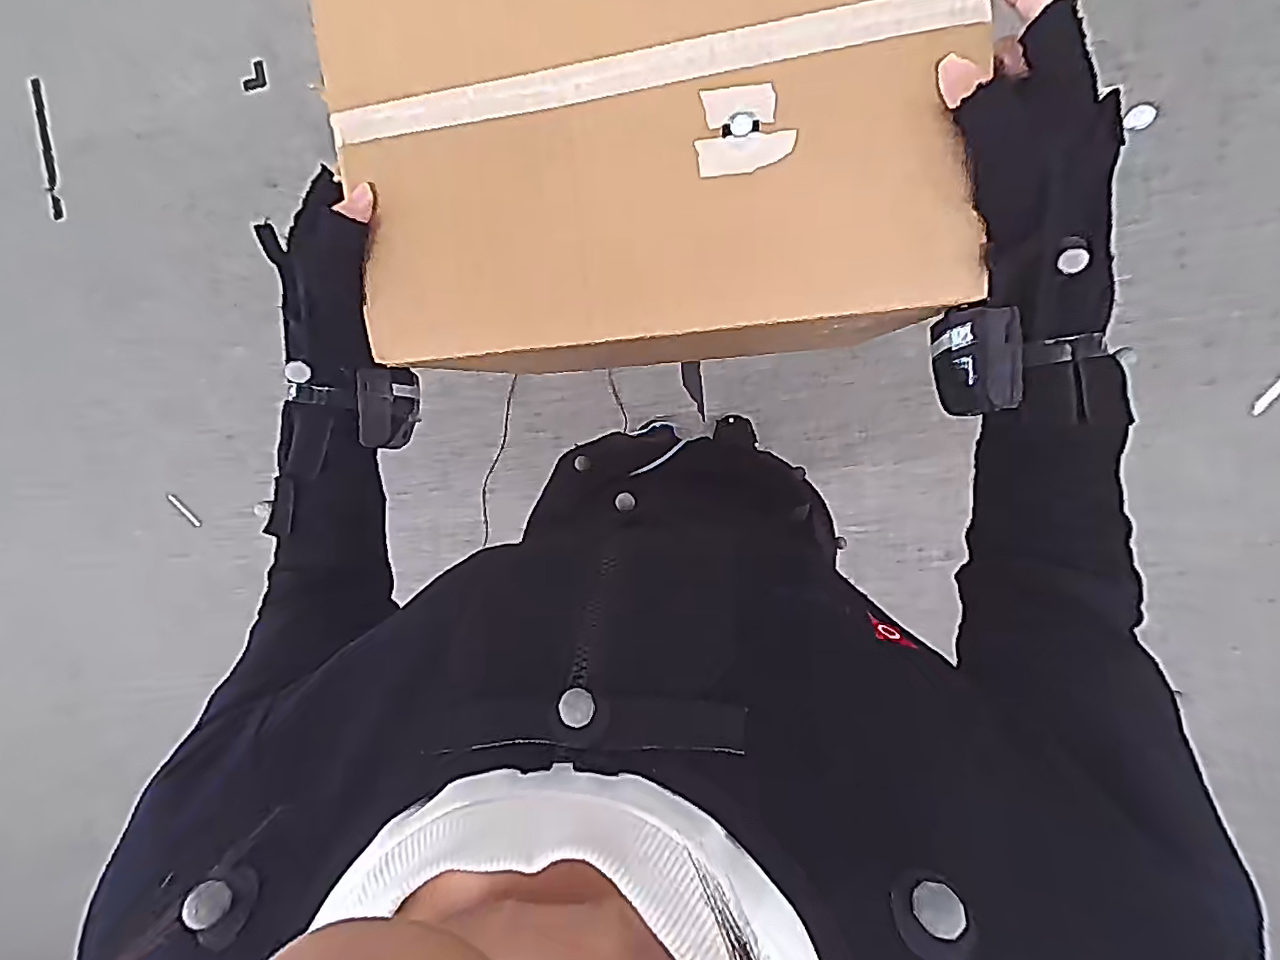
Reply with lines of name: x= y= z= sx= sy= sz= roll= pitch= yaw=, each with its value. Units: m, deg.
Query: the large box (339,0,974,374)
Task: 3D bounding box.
large box: x=0.019 y=-0.279 z=0.492 sx=0.408 sy=0.320 sz=0.320 roll=-4 pitch=99 yaw=9
